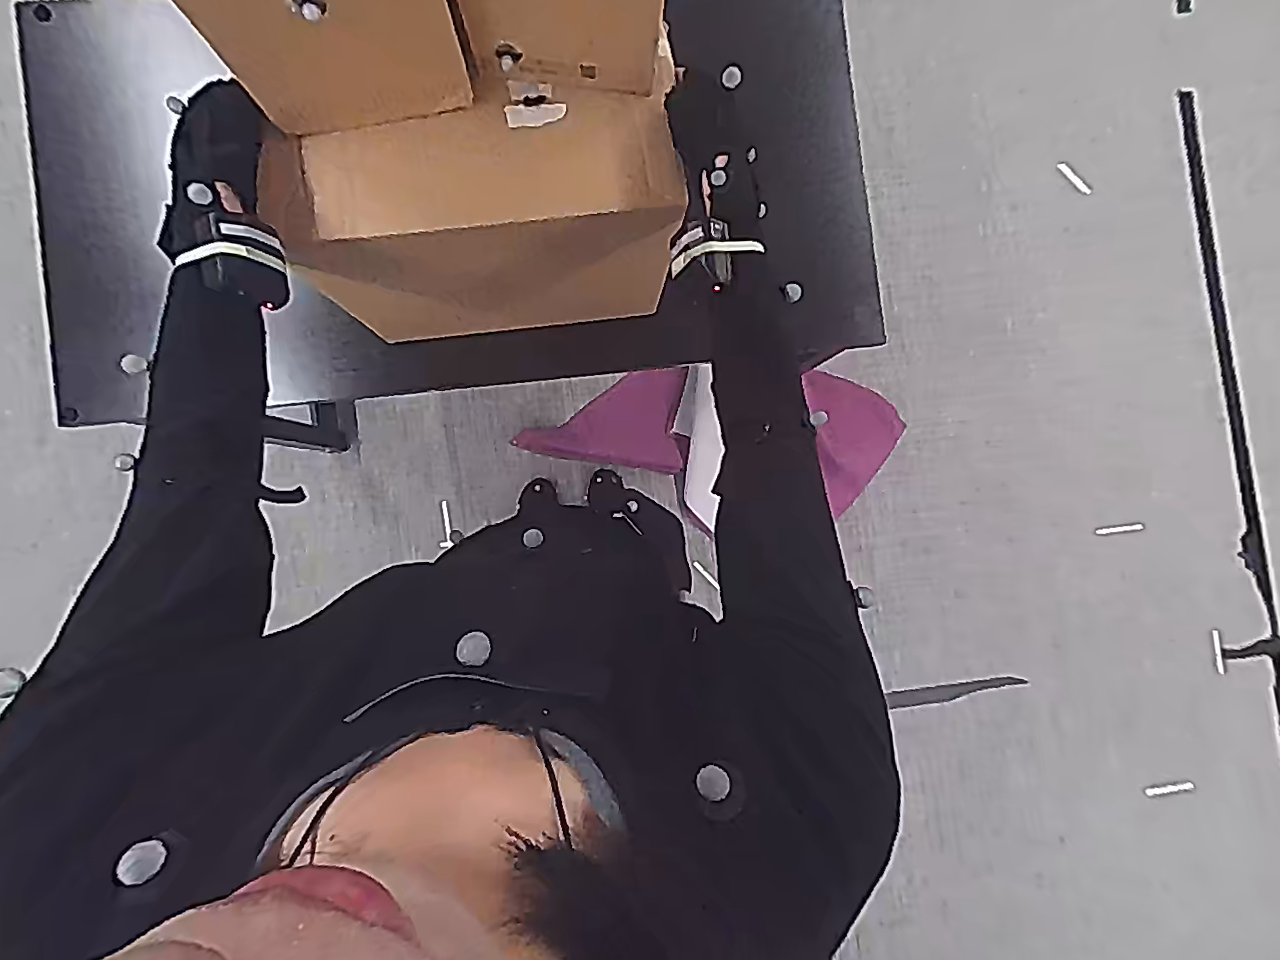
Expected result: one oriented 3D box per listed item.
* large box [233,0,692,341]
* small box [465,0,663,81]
[{"bbox_3d":[-0.182,-0.388,0.662,0.408,0.320,0.320,-9,89,-6],"label":"large box"},{"bbox_3d":[-0.058,-0.465,0.431,0.168,0.176,0.179,3,86,-4],"label":"small box"}]
